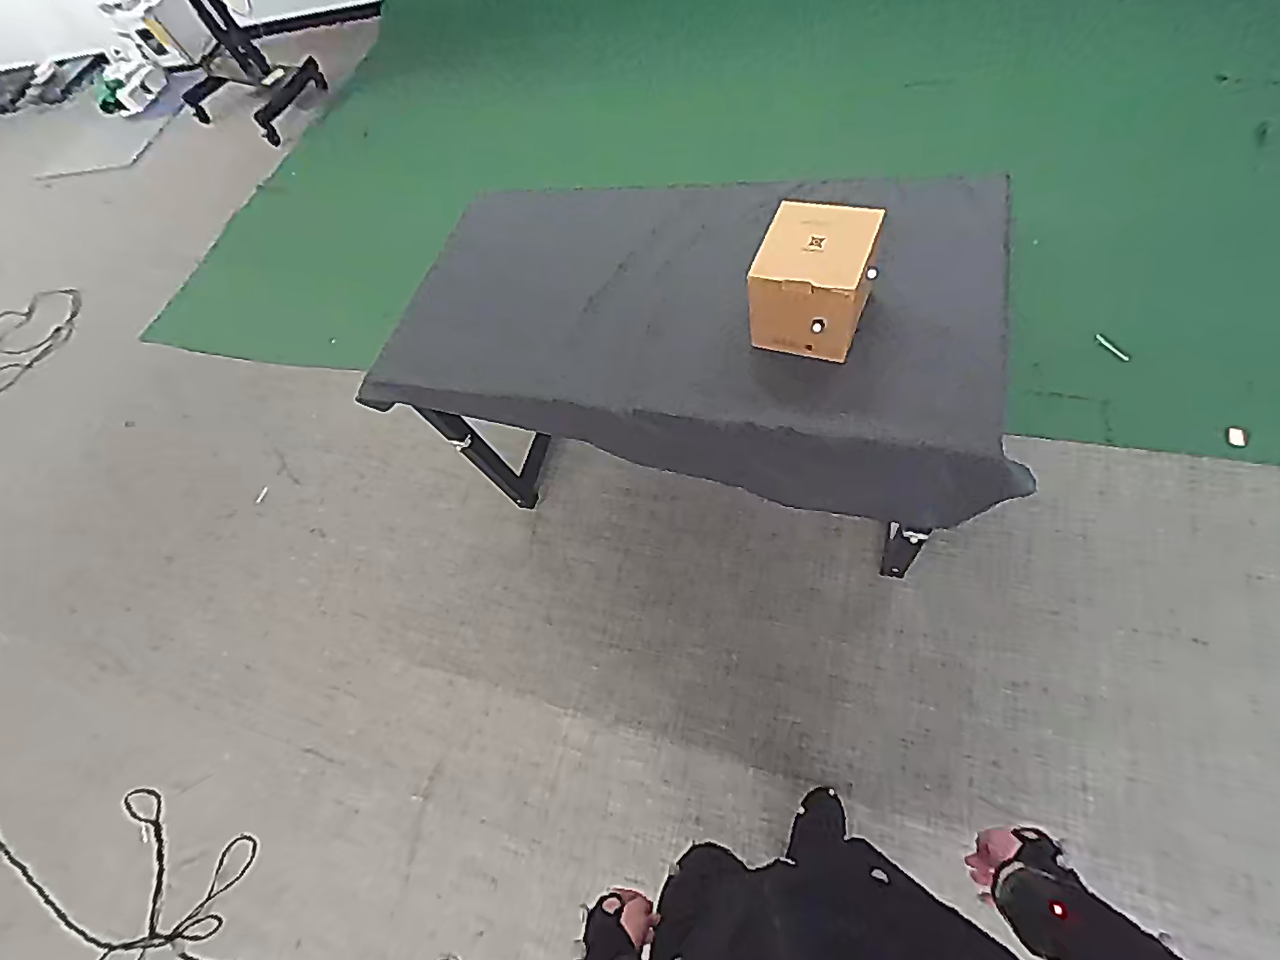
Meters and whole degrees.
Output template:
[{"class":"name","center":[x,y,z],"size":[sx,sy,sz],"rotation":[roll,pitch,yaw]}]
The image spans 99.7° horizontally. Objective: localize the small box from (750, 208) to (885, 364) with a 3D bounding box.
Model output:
[{"class":"small box","center":[0.298,-0.325,0.919],"size":[0.168,0.176,0.179],"rotation":[18,67,21]}]
